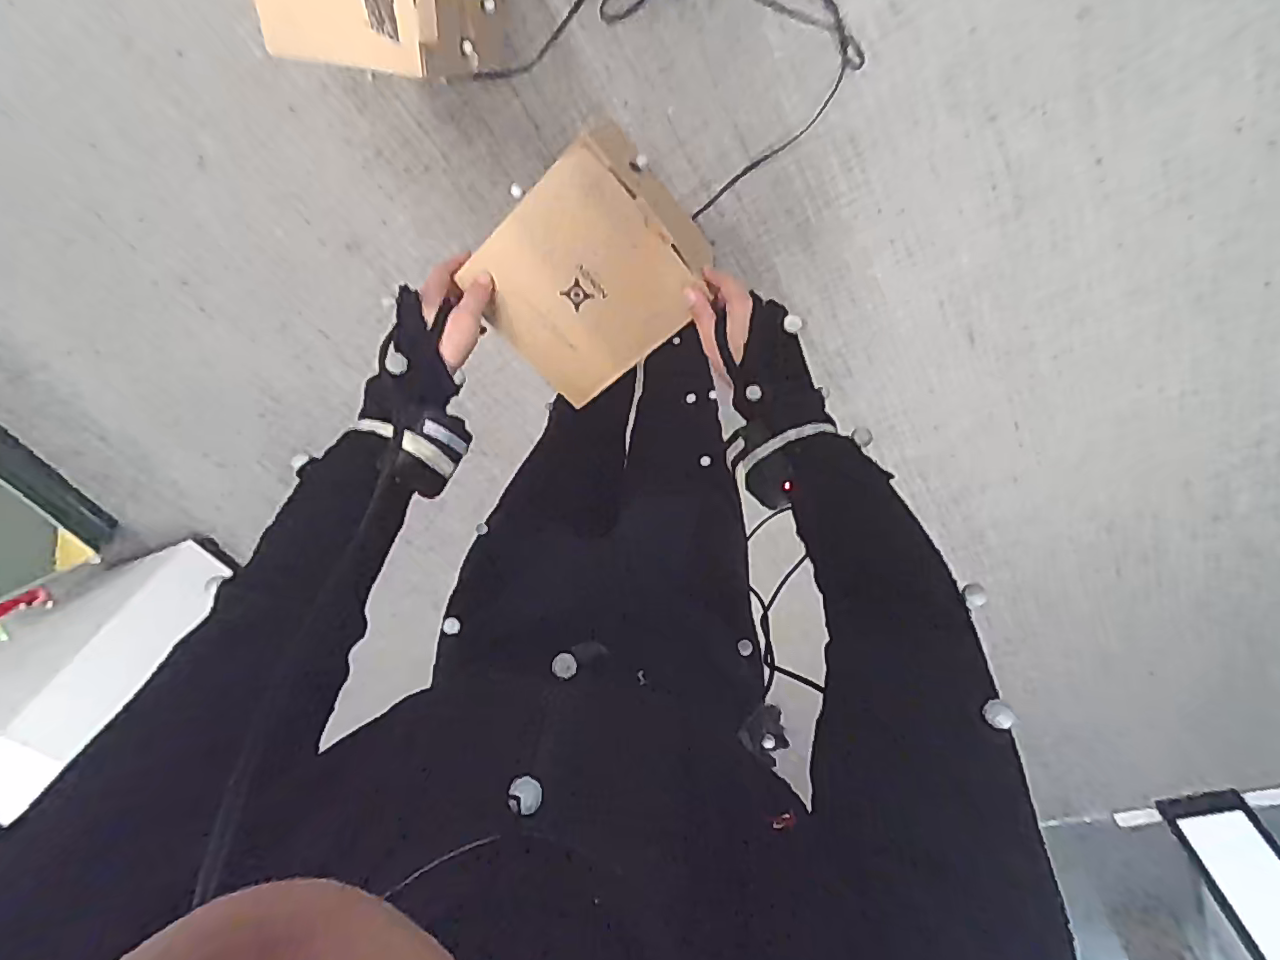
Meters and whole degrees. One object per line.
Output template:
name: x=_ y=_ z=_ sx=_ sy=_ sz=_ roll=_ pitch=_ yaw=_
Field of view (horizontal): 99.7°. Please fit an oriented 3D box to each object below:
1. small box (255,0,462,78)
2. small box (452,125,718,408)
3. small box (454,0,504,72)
small box: x=-0.310 y=-0.569 z=0.609 sx=0.179 sy=0.176 sz=0.168 roll=7 pitch=127 yaw=-2
small box: x=-0.043 y=-0.211 z=0.529 sx=0.179 sy=0.176 sz=0.168 roll=-34 pitch=116 yaw=27
small box: x=-0.292 y=-0.673 z=0.737 sx=0.168 sy=0.176 sz=0.179 roll=3 pitch=128 yaw=1
